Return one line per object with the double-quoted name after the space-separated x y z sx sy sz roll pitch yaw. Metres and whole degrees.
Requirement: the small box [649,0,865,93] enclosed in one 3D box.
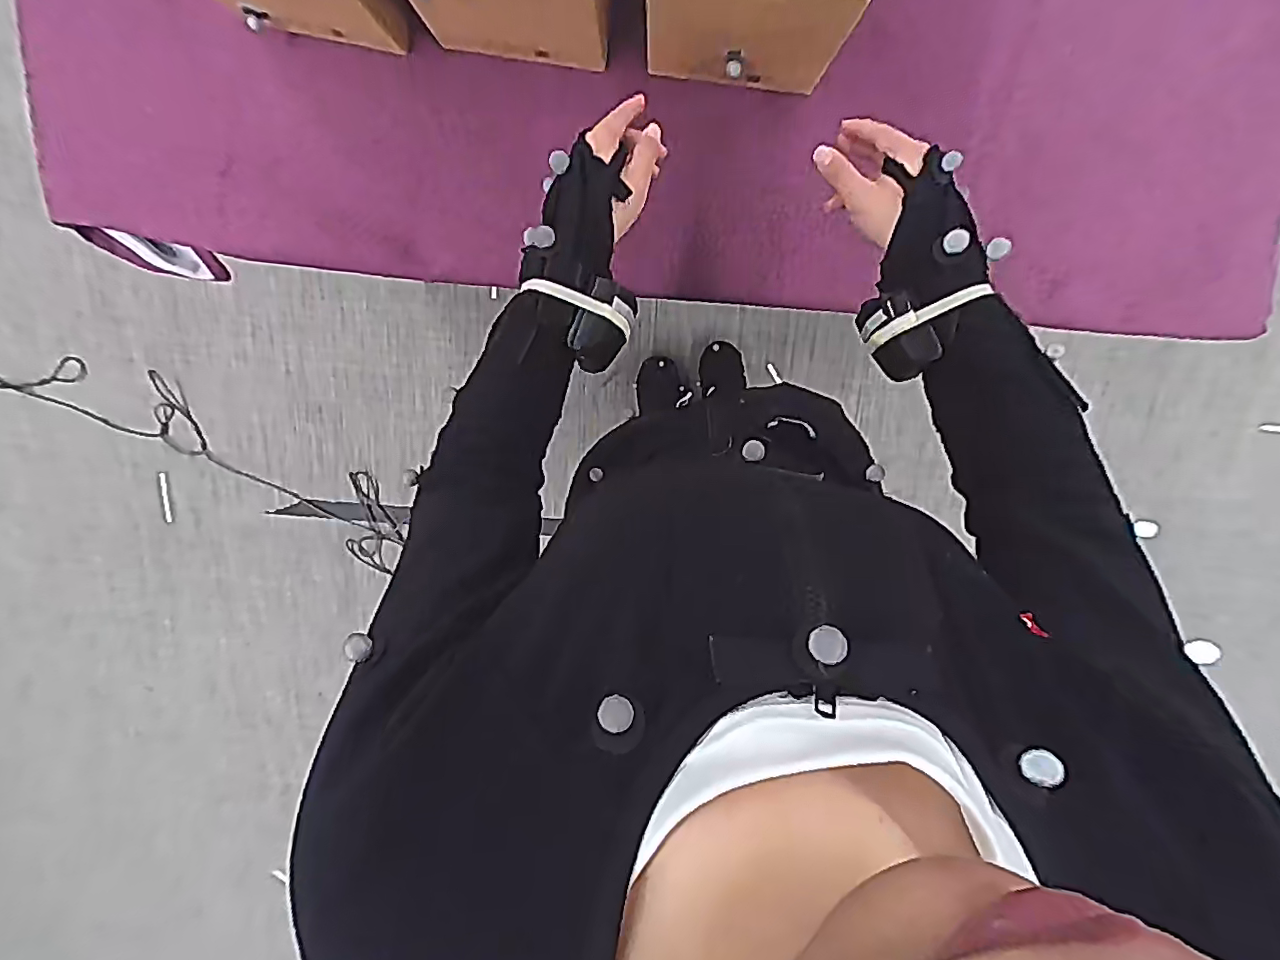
0.097 -0.459 0.440 0.168 0.176 0.179 7 105 0 "small box"
